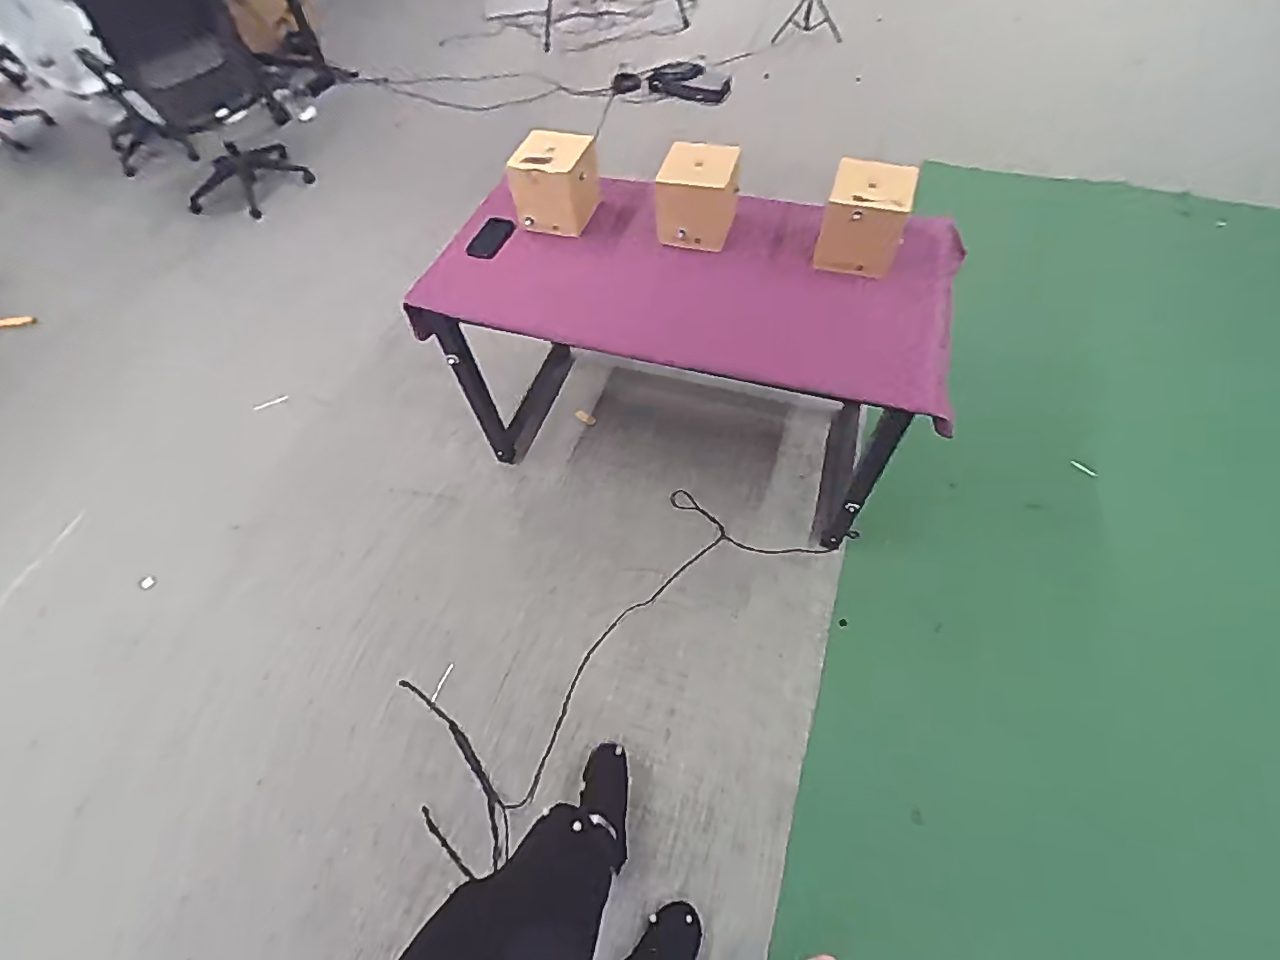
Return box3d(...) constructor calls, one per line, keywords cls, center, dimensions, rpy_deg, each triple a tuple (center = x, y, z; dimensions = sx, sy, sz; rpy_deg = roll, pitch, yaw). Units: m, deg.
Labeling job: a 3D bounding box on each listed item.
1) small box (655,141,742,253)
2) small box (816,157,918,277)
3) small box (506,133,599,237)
box3d(cls="small box", center=(0.142, -0.686, 1.315), dimensions=(0.168, 0.176, 0.179), rpy_deg=(13, 61, 13))
box3d(cls="small box", center=(0.509, -0.594, 1.224), dimensions=(0.168, 0.176, 0.179), rpy_deg=(15, 60, 15))
box3d(cls="small box", center=(-0.212, -0.750, 1.382), dimensions=(0.168, 0.176, 0.179), rpy_deg=(14, 60, 13))
